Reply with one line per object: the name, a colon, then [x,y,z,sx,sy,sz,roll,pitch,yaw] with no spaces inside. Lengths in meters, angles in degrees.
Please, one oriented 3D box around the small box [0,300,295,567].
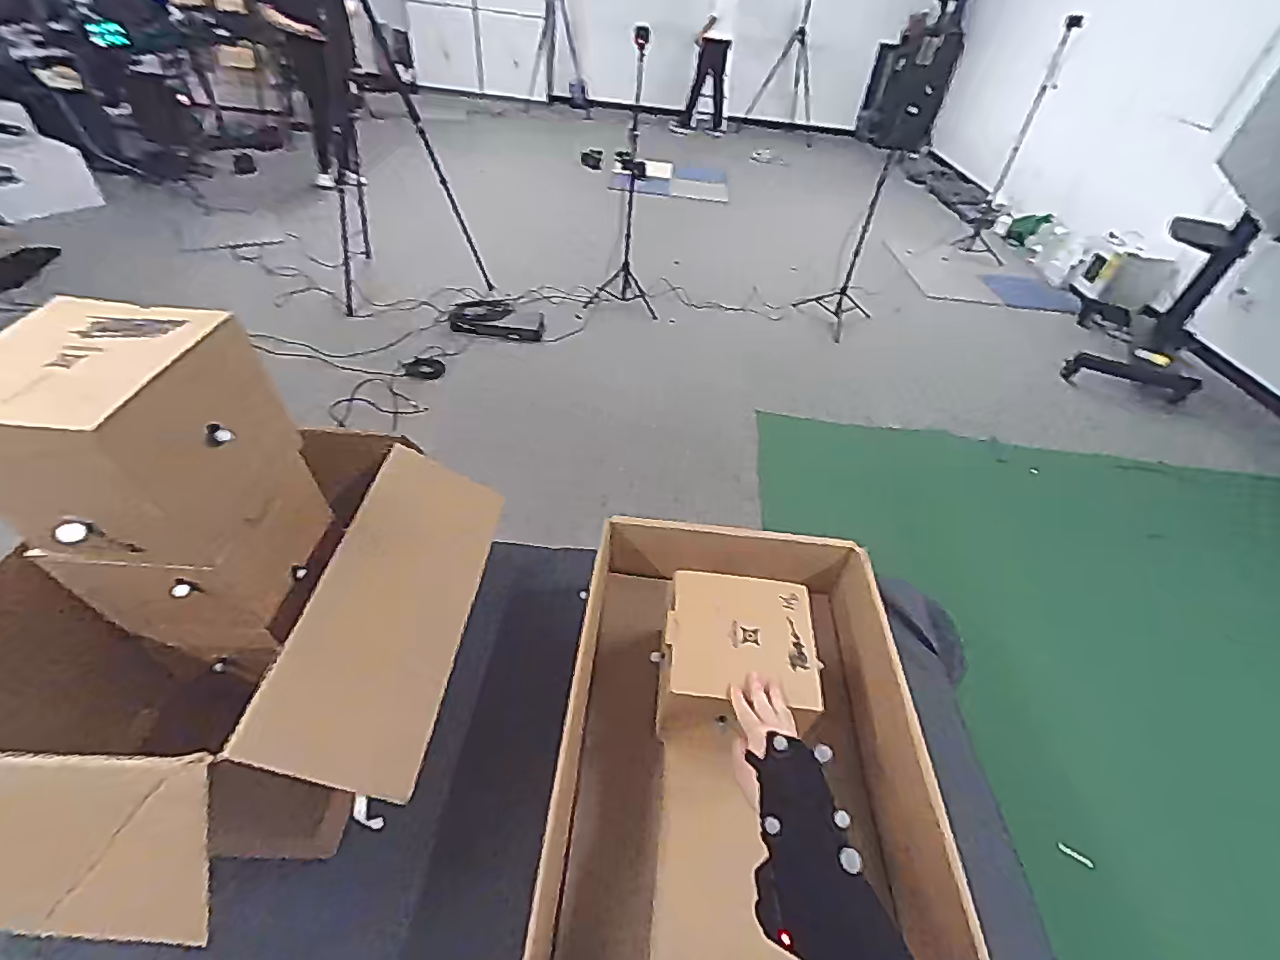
small box: [-0.463,-0.043,0.506,0.168,0.176,0.179,5,47,0]
